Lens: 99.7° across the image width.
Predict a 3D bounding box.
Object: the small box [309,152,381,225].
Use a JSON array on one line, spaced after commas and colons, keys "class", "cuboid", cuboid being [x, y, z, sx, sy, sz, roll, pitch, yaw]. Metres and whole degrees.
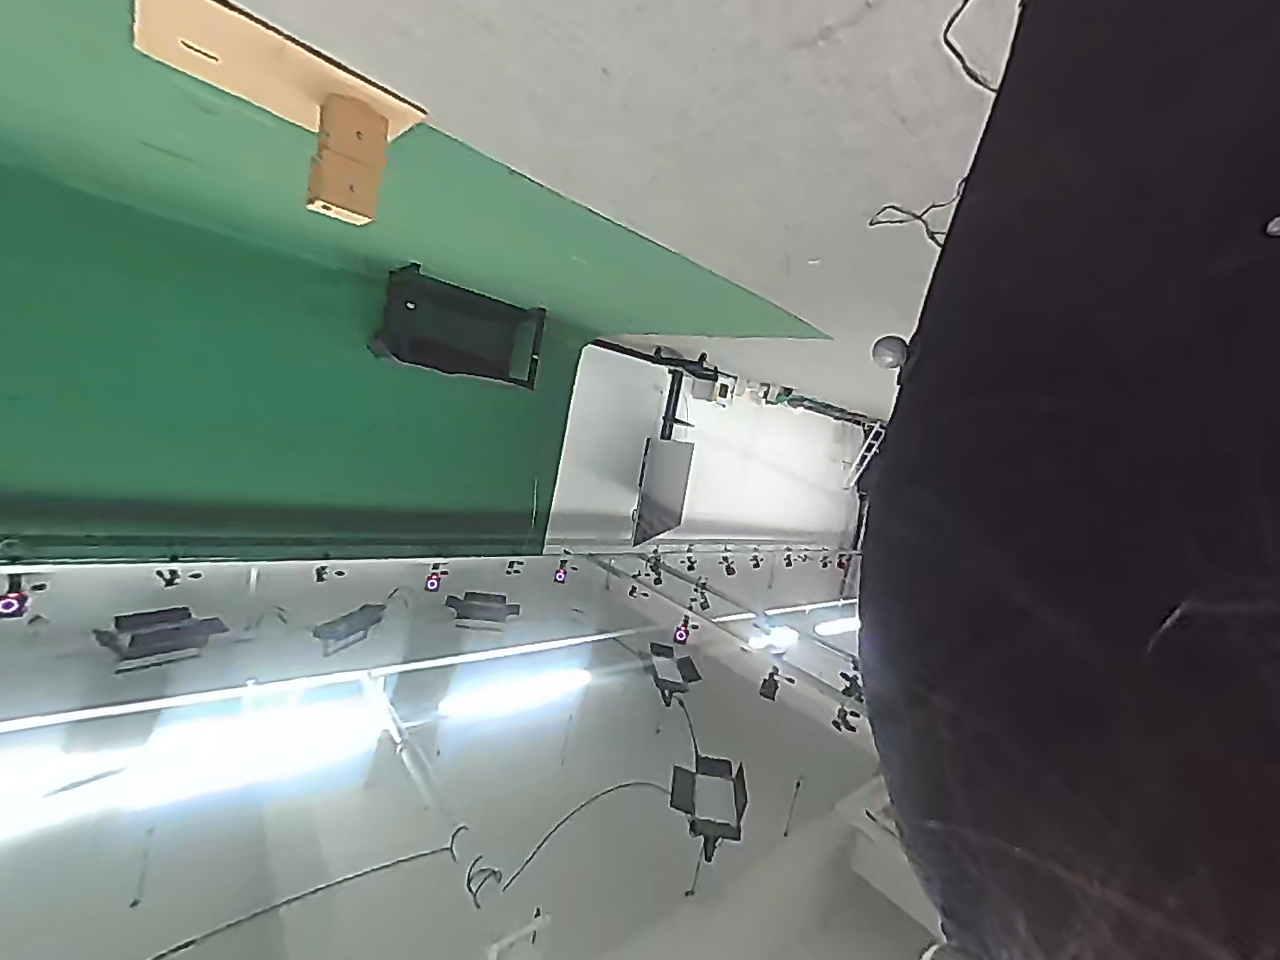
[{"class": "small box", "cuboid": [-1.014, -1.004, 1.860, 0.168, 0.176, 0.179, 17, -169, 43]}]
